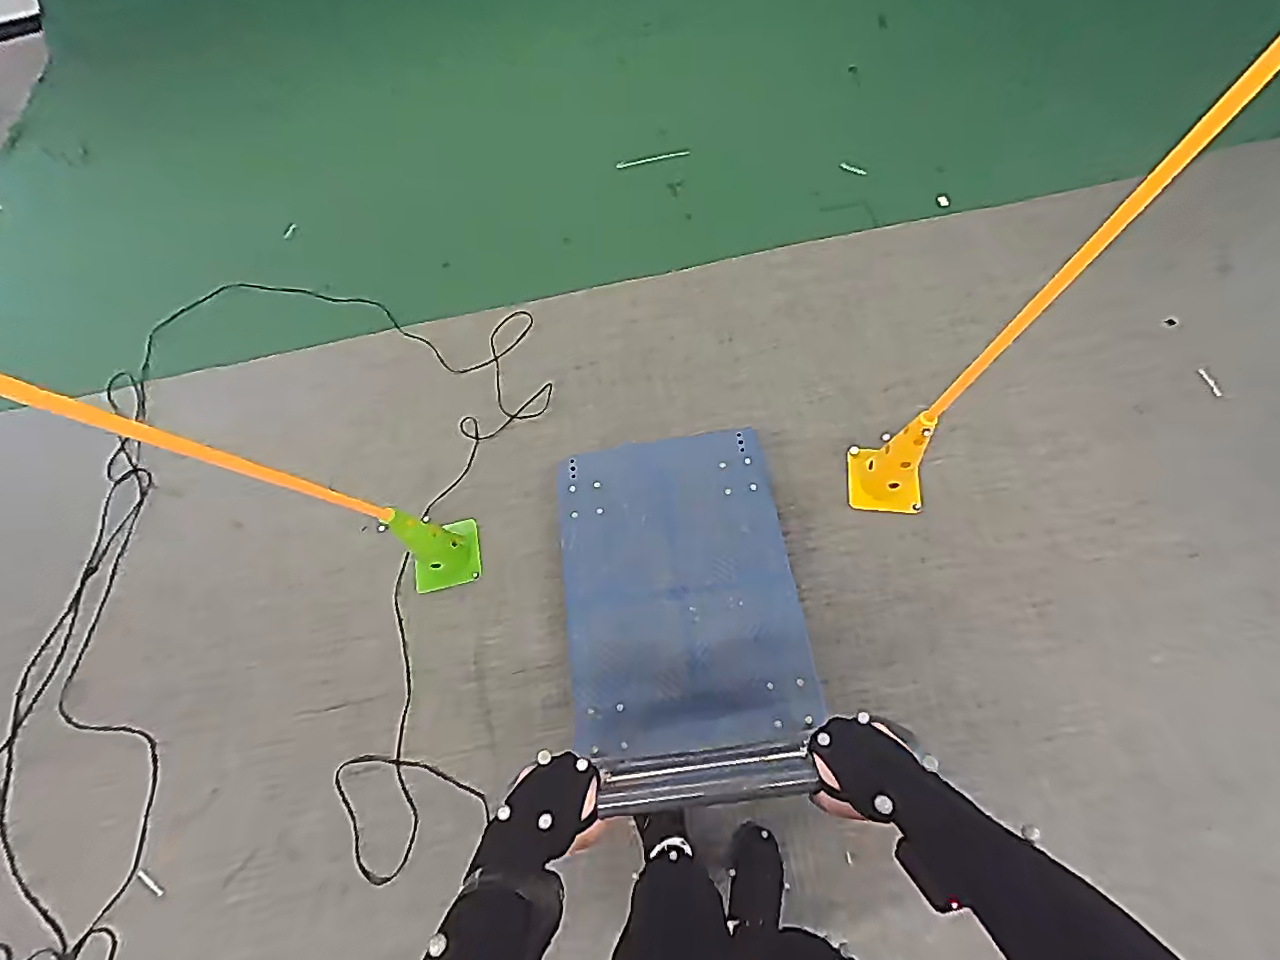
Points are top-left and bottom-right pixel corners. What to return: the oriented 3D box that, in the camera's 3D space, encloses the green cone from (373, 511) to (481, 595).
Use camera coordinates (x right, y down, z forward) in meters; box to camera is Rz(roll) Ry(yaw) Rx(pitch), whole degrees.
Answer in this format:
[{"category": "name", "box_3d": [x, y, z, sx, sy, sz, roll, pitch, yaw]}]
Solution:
[{"category": "green cone", "box_3d": [-0.608, 0.161, 1.485, 0.202, 0.368, 0.200, -15, 64, 1]}]
